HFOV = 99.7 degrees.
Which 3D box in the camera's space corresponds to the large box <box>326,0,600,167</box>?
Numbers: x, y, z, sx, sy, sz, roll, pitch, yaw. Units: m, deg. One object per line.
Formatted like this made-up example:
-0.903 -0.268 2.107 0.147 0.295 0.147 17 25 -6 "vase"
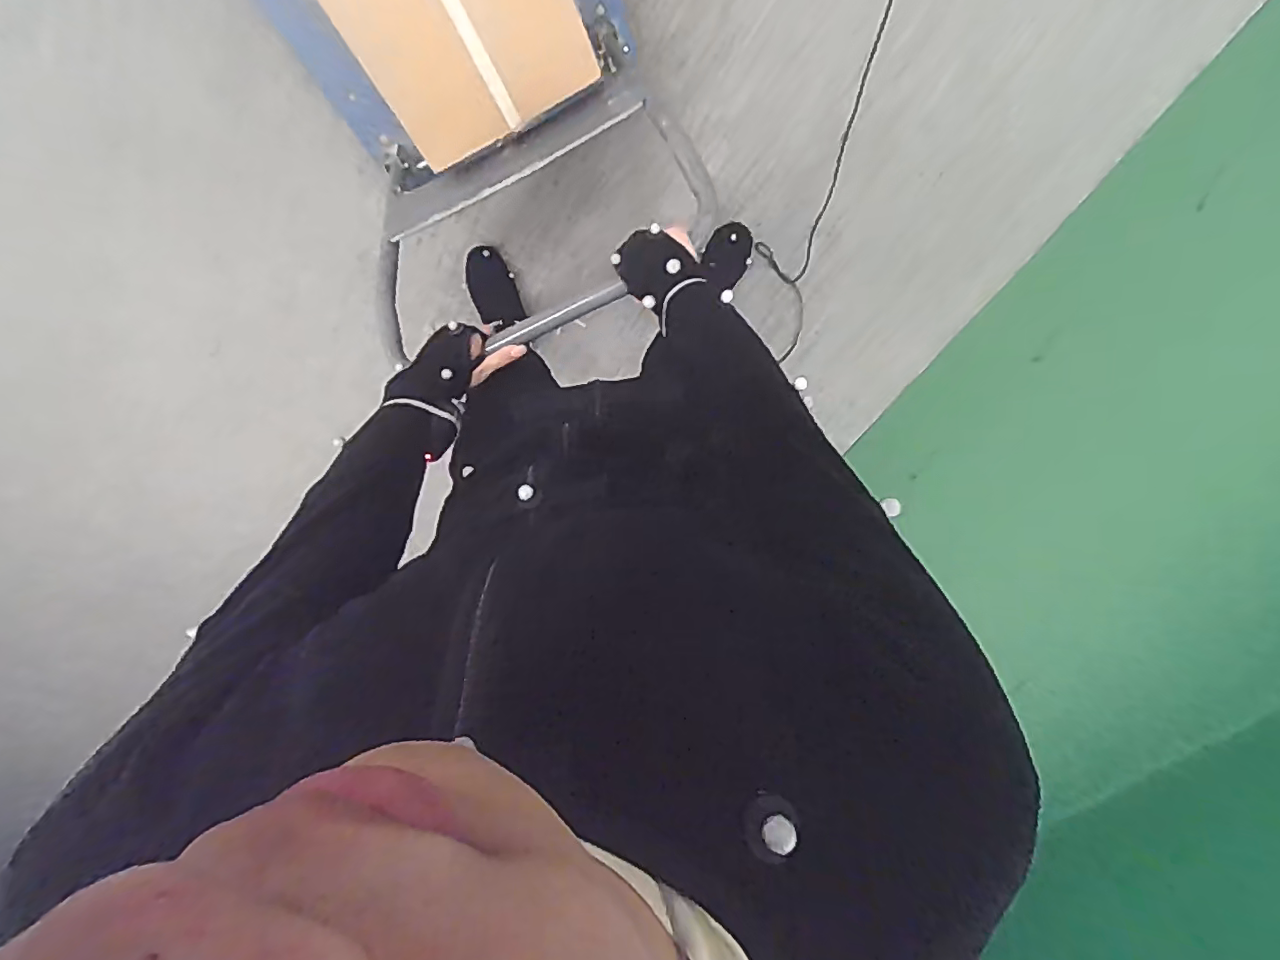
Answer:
-0.299 -0.797 0.831 0.320 0.320 0.408 -23 138 10 "large box"
